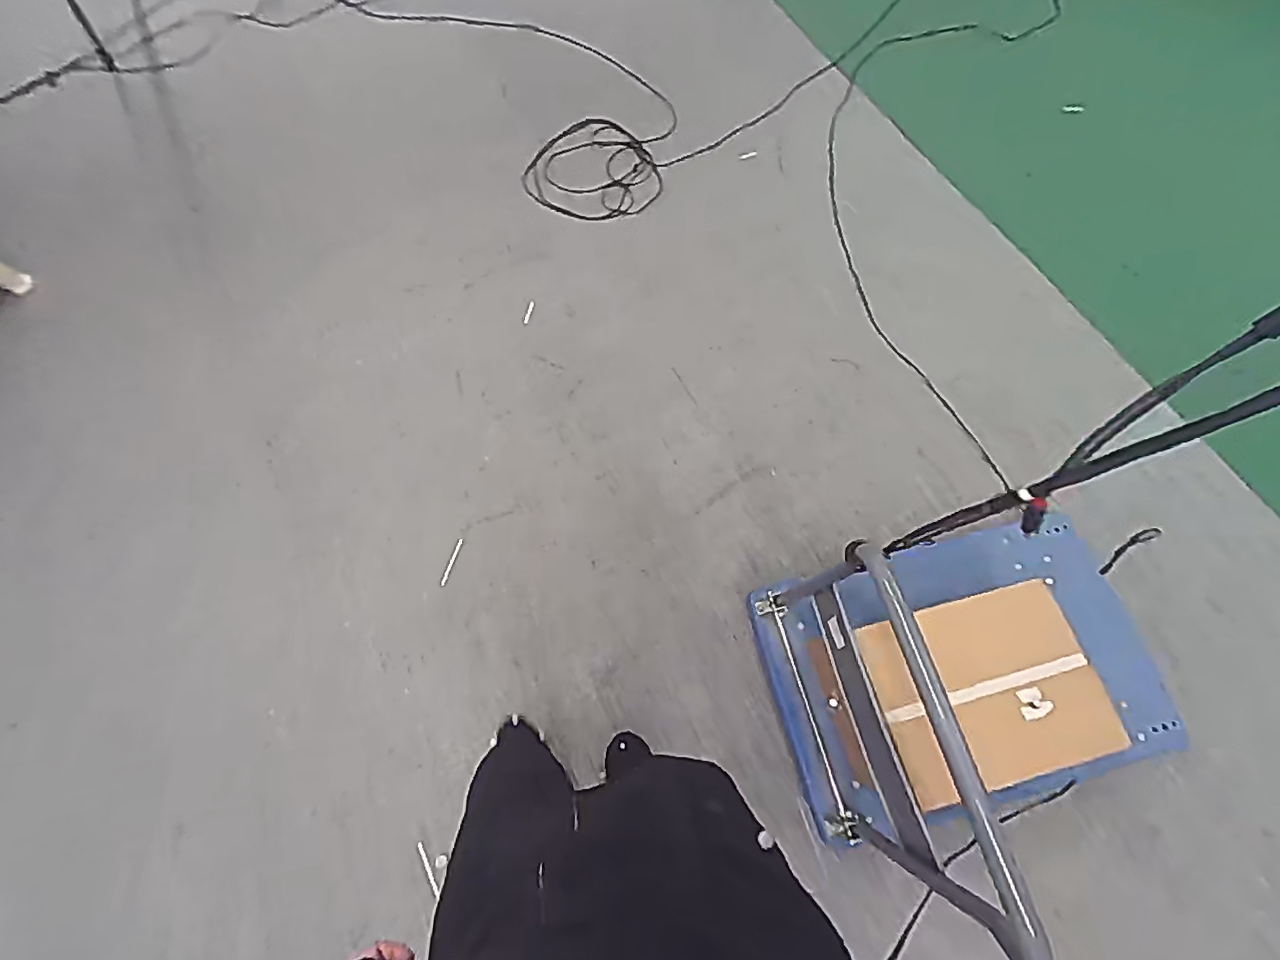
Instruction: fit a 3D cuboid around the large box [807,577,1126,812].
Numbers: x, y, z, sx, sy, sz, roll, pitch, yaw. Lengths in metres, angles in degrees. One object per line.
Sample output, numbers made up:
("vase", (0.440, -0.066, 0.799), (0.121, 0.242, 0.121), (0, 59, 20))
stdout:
("large box", (0.622, 0.429, 1.117), (0.408, 0.320, 0.320), (-14, 70, -5))
